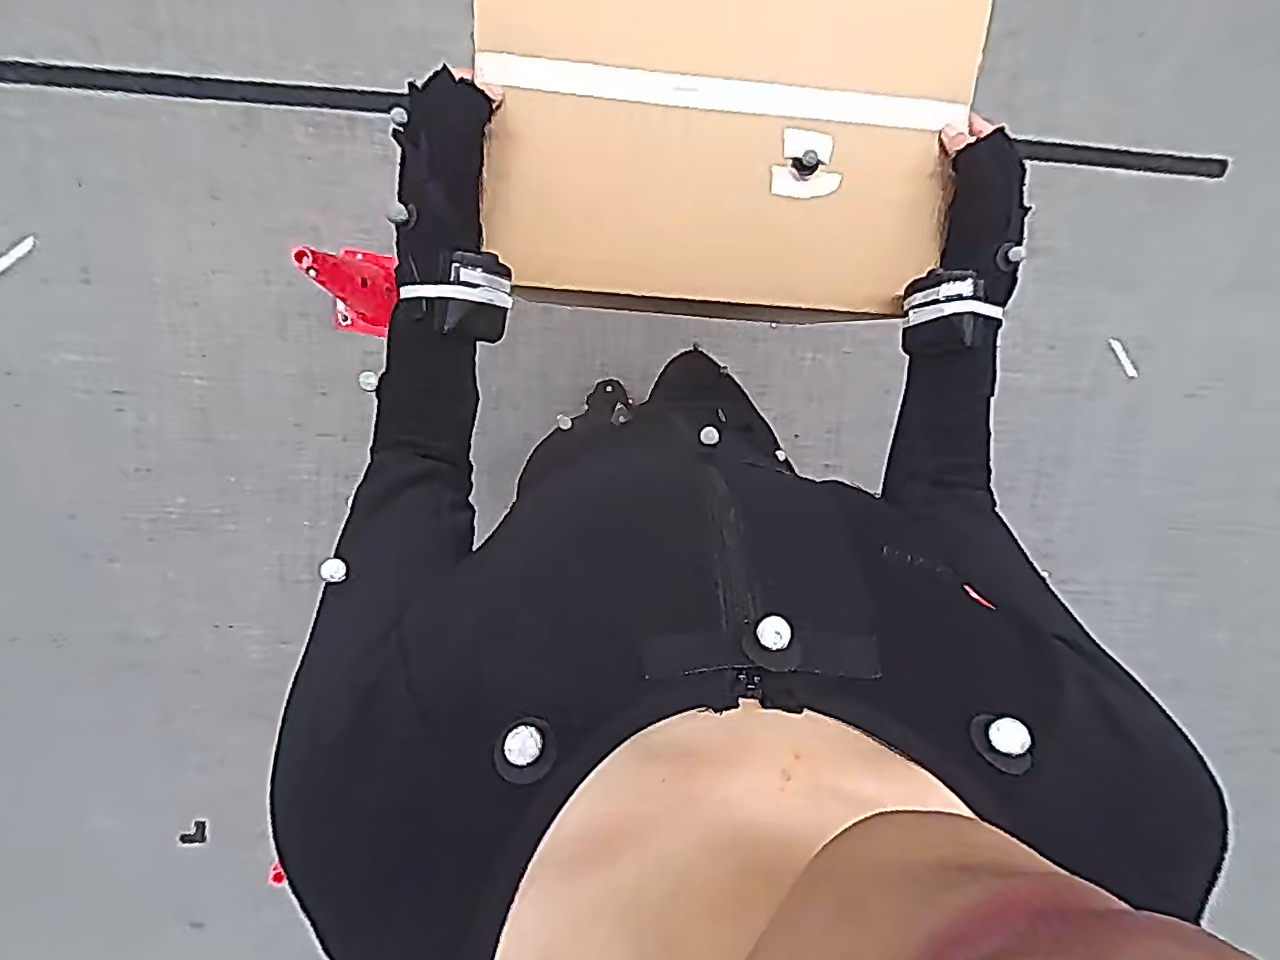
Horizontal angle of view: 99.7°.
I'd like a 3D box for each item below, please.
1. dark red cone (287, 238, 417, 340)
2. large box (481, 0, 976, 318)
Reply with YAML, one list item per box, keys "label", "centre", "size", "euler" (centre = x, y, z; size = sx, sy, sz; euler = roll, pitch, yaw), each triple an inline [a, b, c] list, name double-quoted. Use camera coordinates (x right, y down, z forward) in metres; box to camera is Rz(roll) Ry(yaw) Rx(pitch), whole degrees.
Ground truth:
- label: "dark red cone"
  centre: [-0.644, -0.441, 1.175]
  size: [0.201, 0.394, 0.202]
  euler: [8, 97, -6]
- label: "large box"
  centre: [0.058, -0.353, 0.588]
  size: [0.408, 0.320, 0.320]
  euler: [2, 105, -6]
